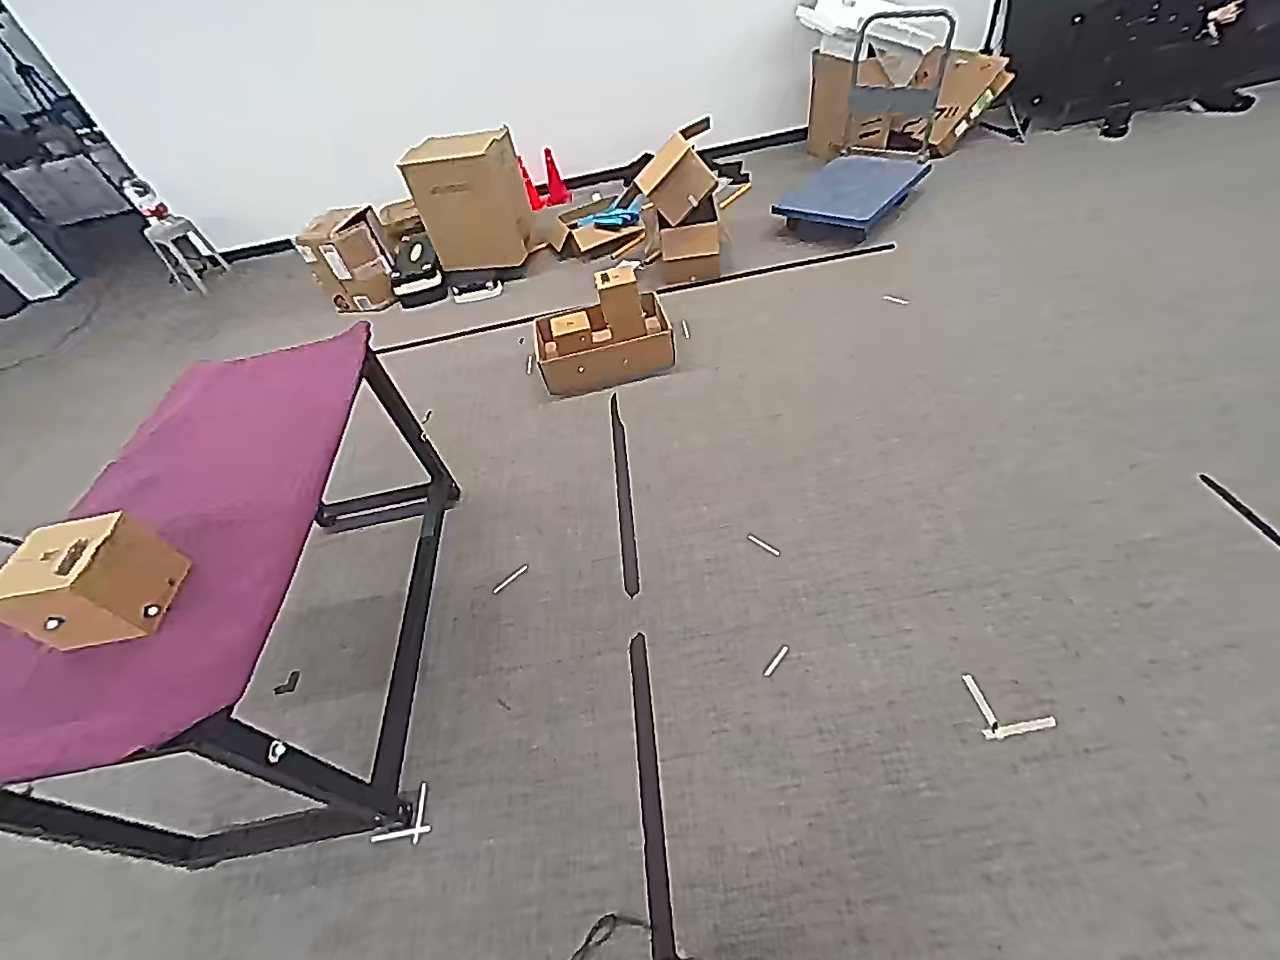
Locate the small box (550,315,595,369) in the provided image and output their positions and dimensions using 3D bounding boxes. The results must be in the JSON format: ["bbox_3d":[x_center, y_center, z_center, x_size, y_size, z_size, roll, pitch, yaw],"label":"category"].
[{"bbox_3d":[-0.317,-0.654,2.566,0.179,0.176,0.168,-15,45,-3],"label":"small box"}]

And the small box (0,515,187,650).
[{"bbox_3d":[-0.997,0.190,0.989,0.179,0.176,0.168,-11,46,2],"label":"small box"}]

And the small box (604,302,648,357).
[{"bbox_3d":[-0.065,-0.715,2.572,0.168,0.176,0.179,-15,46,0],"label":"small box"}]
